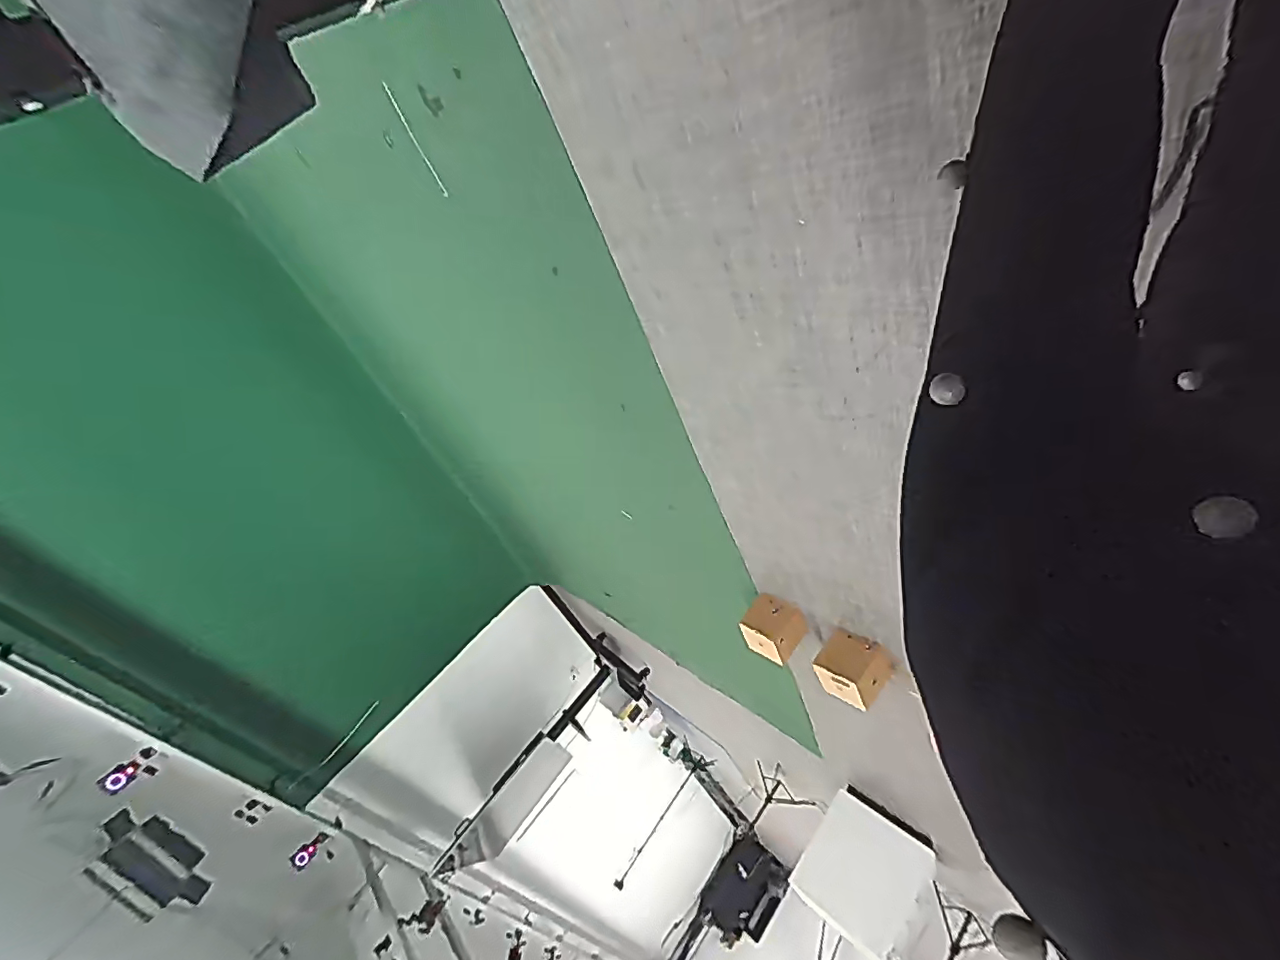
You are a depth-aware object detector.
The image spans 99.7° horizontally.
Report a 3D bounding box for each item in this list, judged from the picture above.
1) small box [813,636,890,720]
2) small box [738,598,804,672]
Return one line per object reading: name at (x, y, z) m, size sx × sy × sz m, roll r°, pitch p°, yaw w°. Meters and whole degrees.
small box at (0.717, 0.660, 1.826) m, size 0.168 × 0.176 × 0.179 m, roll 15°, pitch 142°, yaw 50°
small box at (0.506, 0.588, 2.061) m, size 0.168 × 0.176 × 0.179 m, roll 19°, pitch 144°, yaw 45°
